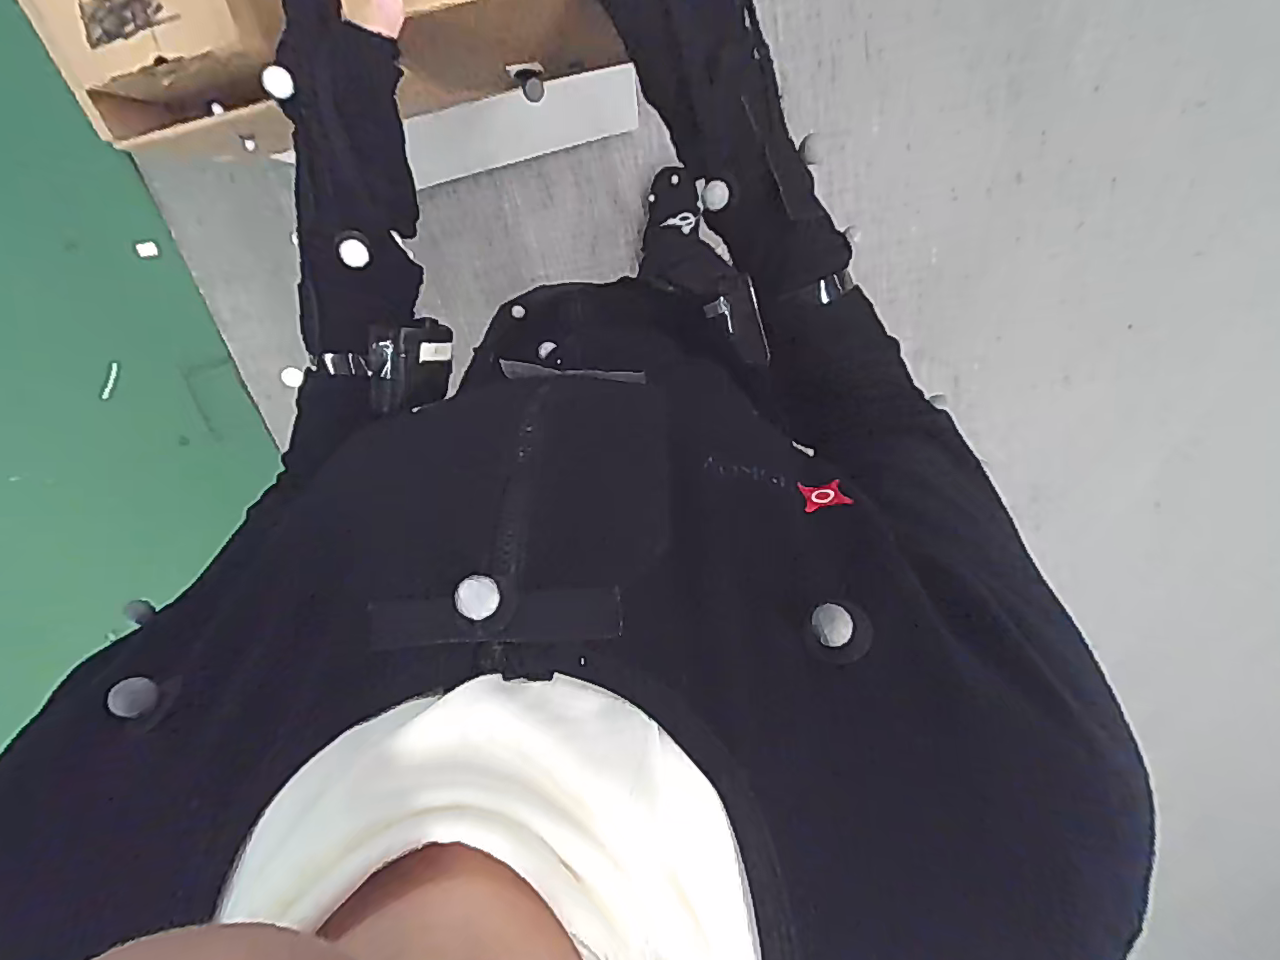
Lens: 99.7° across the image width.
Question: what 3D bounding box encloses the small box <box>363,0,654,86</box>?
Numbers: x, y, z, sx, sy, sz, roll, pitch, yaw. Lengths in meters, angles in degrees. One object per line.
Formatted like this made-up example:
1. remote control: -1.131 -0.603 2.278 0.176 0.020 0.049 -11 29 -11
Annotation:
1. small box: -0.084 -0.368 0.314 0.168 0.176 0.179 -9 114 5
